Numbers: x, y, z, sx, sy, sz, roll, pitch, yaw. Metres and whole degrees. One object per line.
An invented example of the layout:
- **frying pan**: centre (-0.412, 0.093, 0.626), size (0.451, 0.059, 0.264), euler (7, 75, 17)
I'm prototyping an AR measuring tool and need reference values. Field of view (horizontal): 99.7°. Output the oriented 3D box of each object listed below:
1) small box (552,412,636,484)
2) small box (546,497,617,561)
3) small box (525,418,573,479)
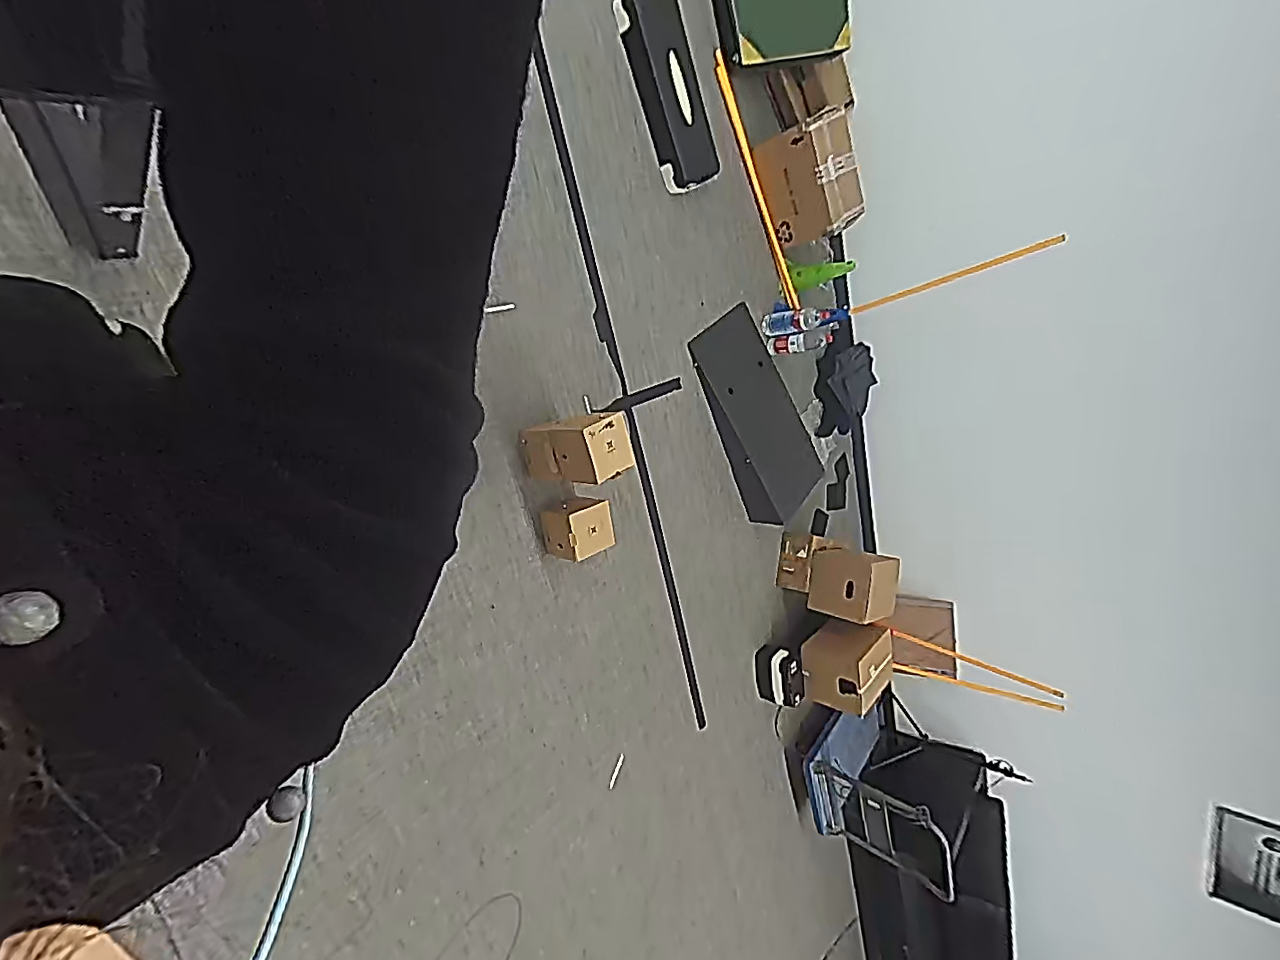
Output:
- **small box**: centre (-0.142, -0.103, 1.663), size (0.168, 0.176, 0.179), euler (-31, 115, -40)
- **small box**: centre (-0.207, 0.162, 1.854), size (0.179, 0.176, 0.168), euler (-22, 109, -43)
- **small box**: centre (-0.260, -0.106, 1.779), size (0.179, 0.176, 0.168), euler (-26, 111, -42)
